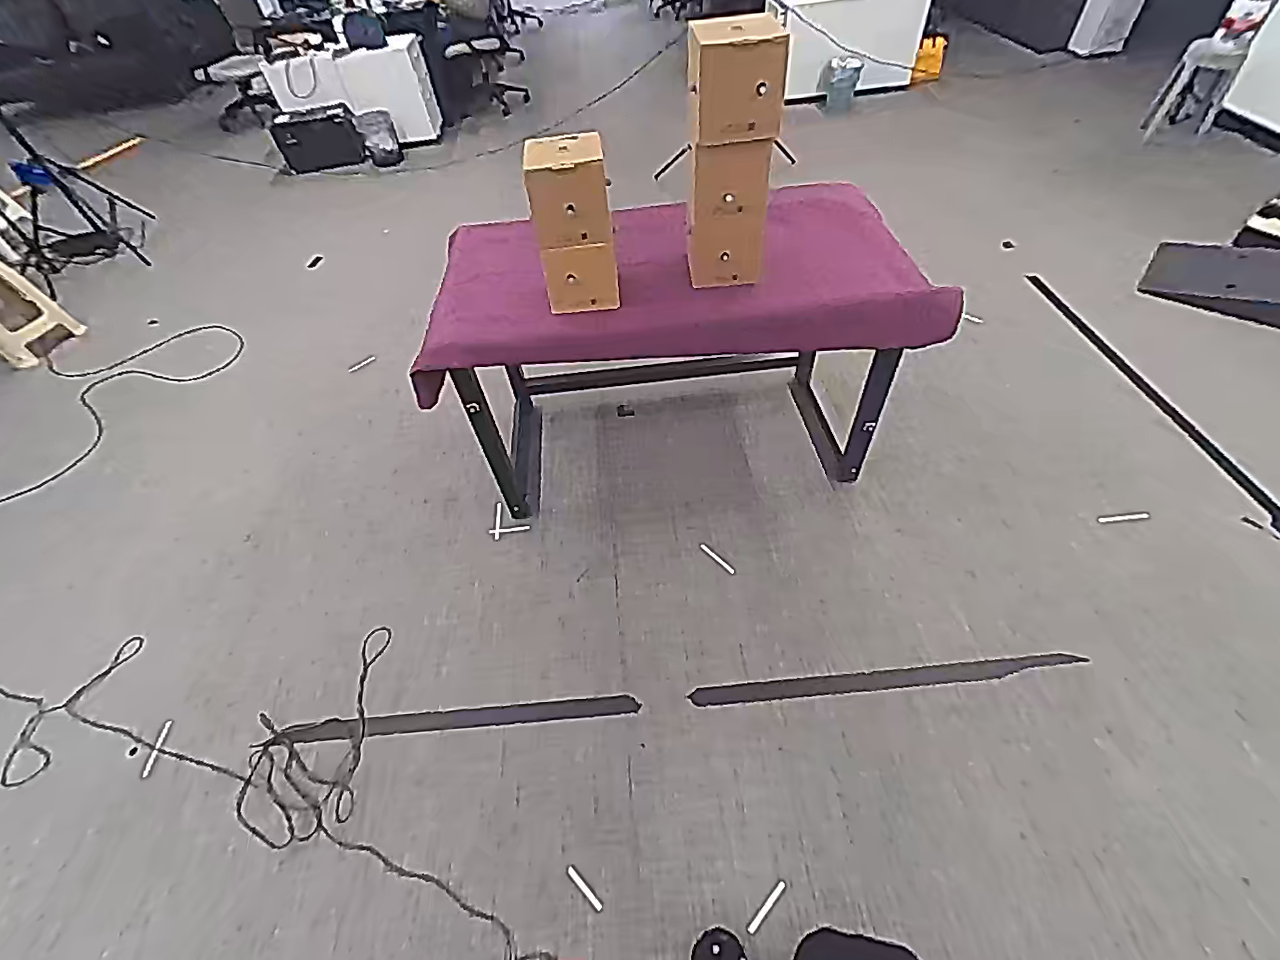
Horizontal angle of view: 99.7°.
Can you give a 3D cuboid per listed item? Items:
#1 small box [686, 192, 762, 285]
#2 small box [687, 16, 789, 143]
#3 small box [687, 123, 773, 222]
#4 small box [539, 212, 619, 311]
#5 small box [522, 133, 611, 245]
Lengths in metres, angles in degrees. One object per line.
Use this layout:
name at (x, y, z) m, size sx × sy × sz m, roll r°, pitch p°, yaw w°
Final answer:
small box at (0.204, -0.601, 1.343) m, size 0.168 × 0.176 × 0.179 m, roll -3°, pitch 50°, yaw 2°
small box at (0.187, -0.793, 1.080) m, size 0.168 × 0.176 × 0.179 m, roll -6°, pitch 50°, yaw -1°
small box at (0.195, -0.707, 1.219) m, size 0.168 × 0.176 × 0.179 m, roll -4°, pitch 51°, yaw 2°
small box at (-0.143, -0.526, 1.316) m, size 0.168 × 0.176 × 0.179 m, roll -5°, pitch 49°, yaw 1°
small box at (-0.157, -0.636, 1.194) m, size 0.168 × 0.176 × 0.179 m, roll -7°, pitch 50°, yaw -1°
